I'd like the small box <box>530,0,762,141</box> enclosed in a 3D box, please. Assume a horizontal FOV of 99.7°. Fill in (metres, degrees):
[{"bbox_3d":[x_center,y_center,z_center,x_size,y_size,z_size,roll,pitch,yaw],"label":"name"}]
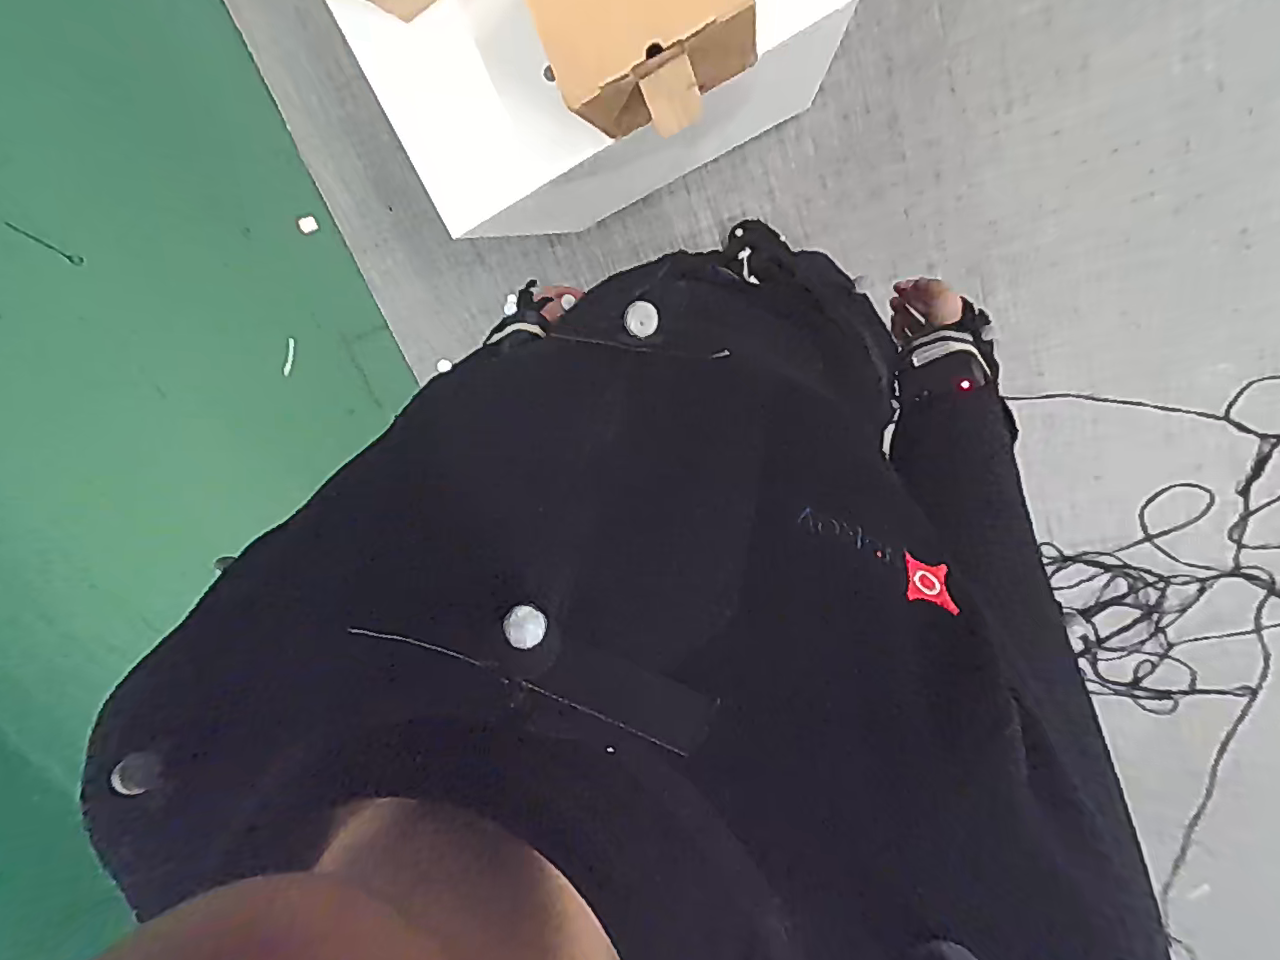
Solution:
[{"bbox_3d":[0.000,-0.437,0.477,0.168,0.176,0.179,-18,109,19],"label":"small box"}]
